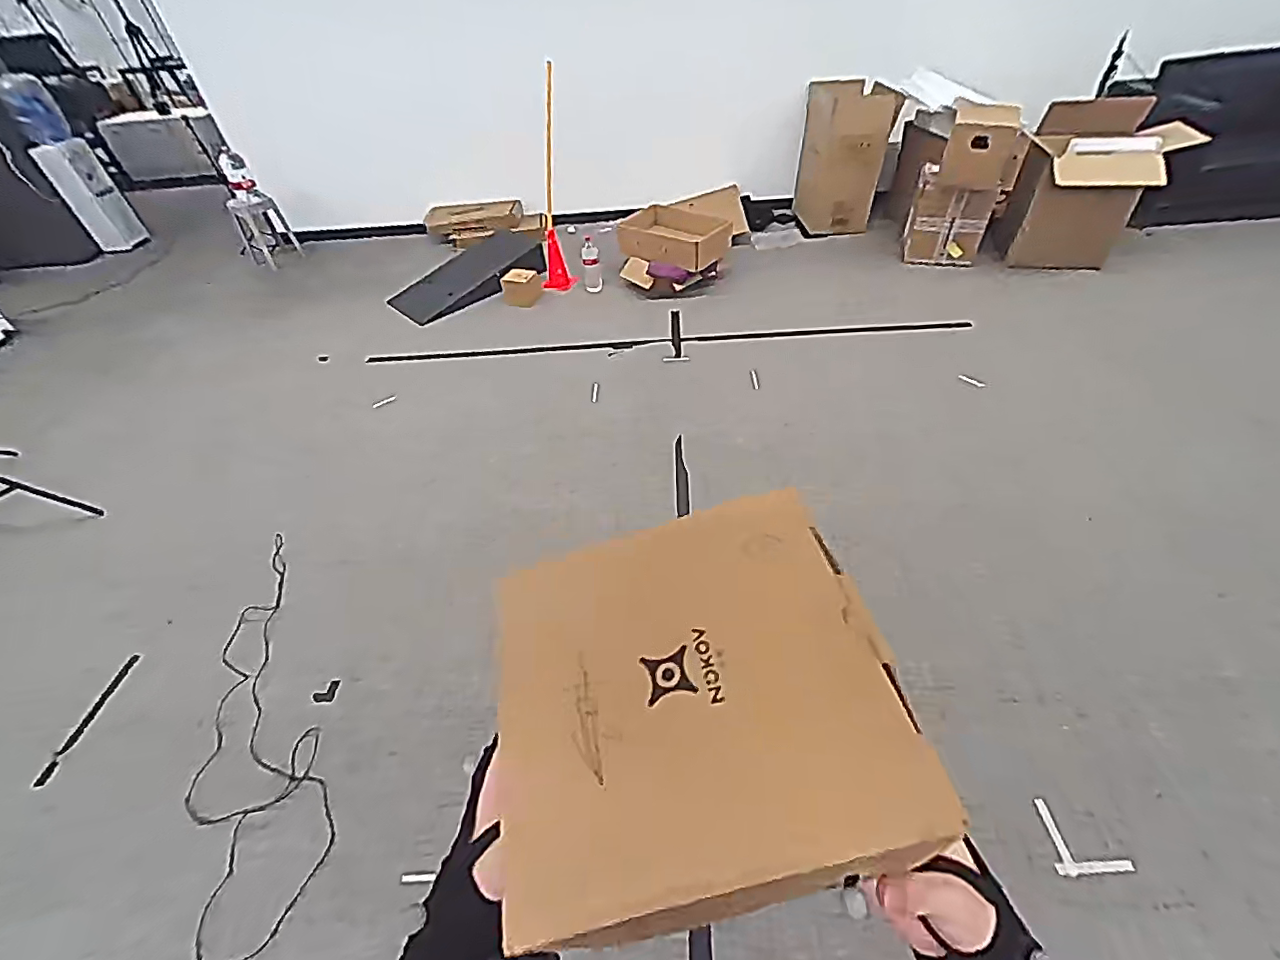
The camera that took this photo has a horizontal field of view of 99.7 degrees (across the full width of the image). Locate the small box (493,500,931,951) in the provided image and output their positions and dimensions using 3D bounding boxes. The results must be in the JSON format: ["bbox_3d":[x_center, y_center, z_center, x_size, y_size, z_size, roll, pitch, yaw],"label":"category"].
[{"bbox_3d":[0.033,0.146,0.318,0.179,0.176,0.168,-20,47,3],"label":"small box"}]
